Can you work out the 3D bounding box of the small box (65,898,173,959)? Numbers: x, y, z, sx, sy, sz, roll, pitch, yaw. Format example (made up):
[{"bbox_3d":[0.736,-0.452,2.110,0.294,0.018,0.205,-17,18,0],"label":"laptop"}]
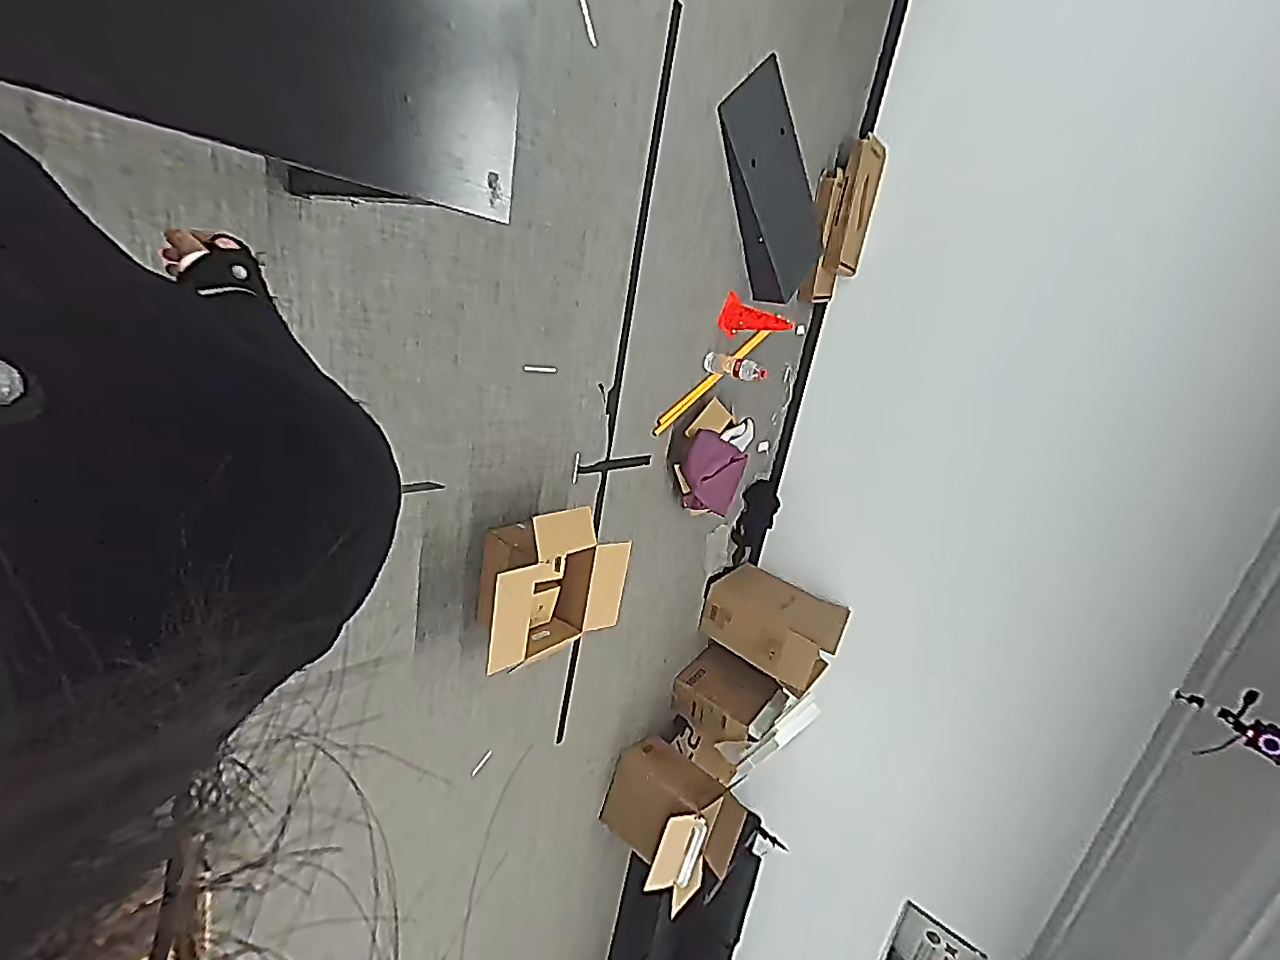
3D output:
[{"bbox_3d":[-1.331,1.237,1.383,0.179,0.176,0.168,-5,110,-51],"label":"small box"}]
